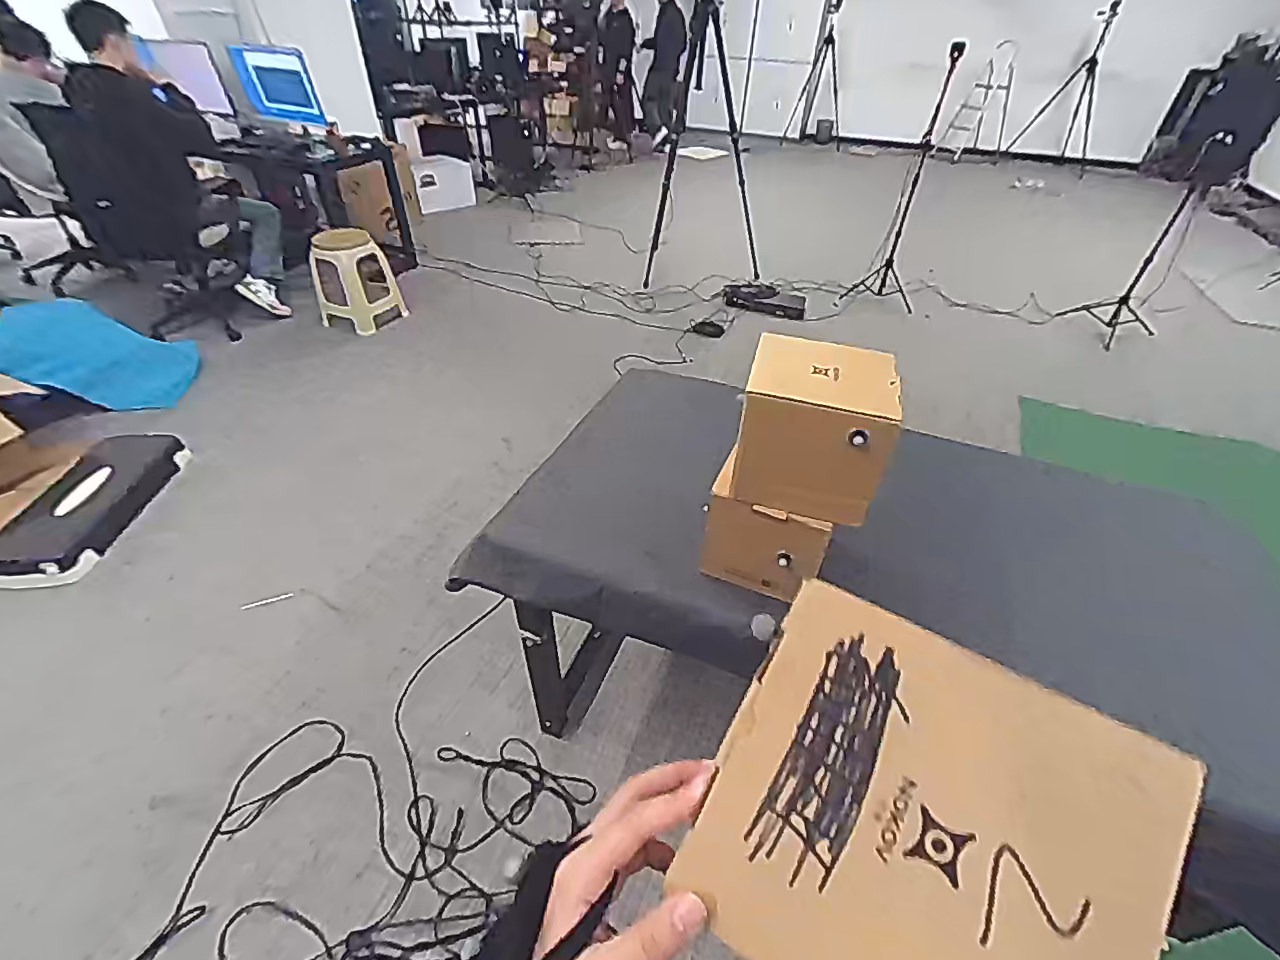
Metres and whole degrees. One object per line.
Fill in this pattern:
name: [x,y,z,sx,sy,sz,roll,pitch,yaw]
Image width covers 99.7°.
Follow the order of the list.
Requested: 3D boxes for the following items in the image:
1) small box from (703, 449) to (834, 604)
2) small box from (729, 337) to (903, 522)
small box: [0.201,0.055,0.818,0.168,0.176,0.179,18,41,16]
small box: [0.222,-0.067,0.711,0.179,0.176,0.168,13,41,11]
